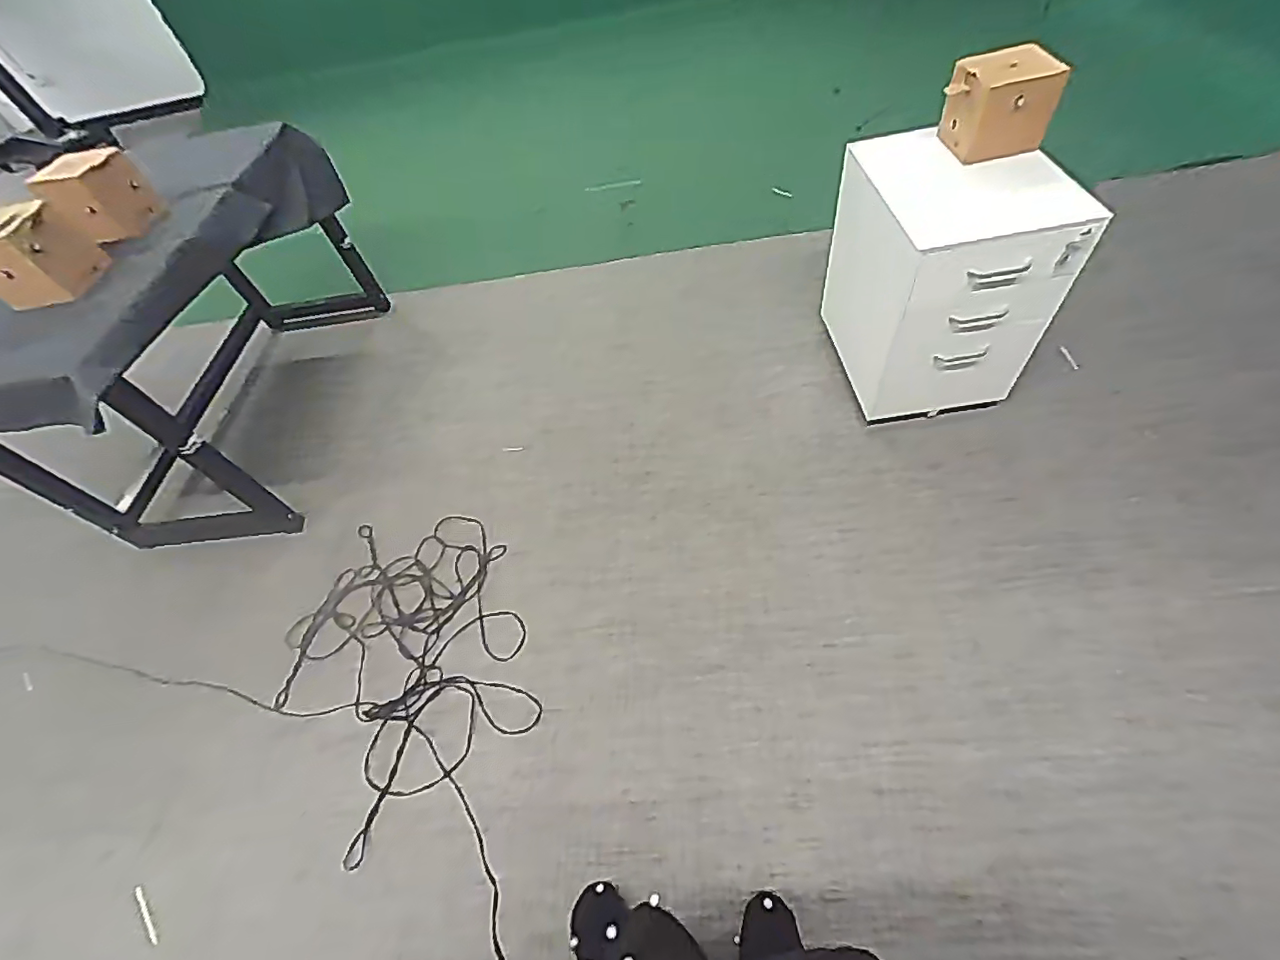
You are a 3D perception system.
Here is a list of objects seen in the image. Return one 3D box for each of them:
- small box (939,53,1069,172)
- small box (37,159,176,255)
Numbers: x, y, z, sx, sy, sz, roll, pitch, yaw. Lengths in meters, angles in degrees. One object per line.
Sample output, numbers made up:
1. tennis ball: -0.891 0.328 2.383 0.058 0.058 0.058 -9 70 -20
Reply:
1. small box: 0.850 -0.867 1.284 0.179 0.176 0.168 -10 54 5
2. small box: -1.439 -0.741 1.475 0.179 0.176 0.168 -2 53 11
